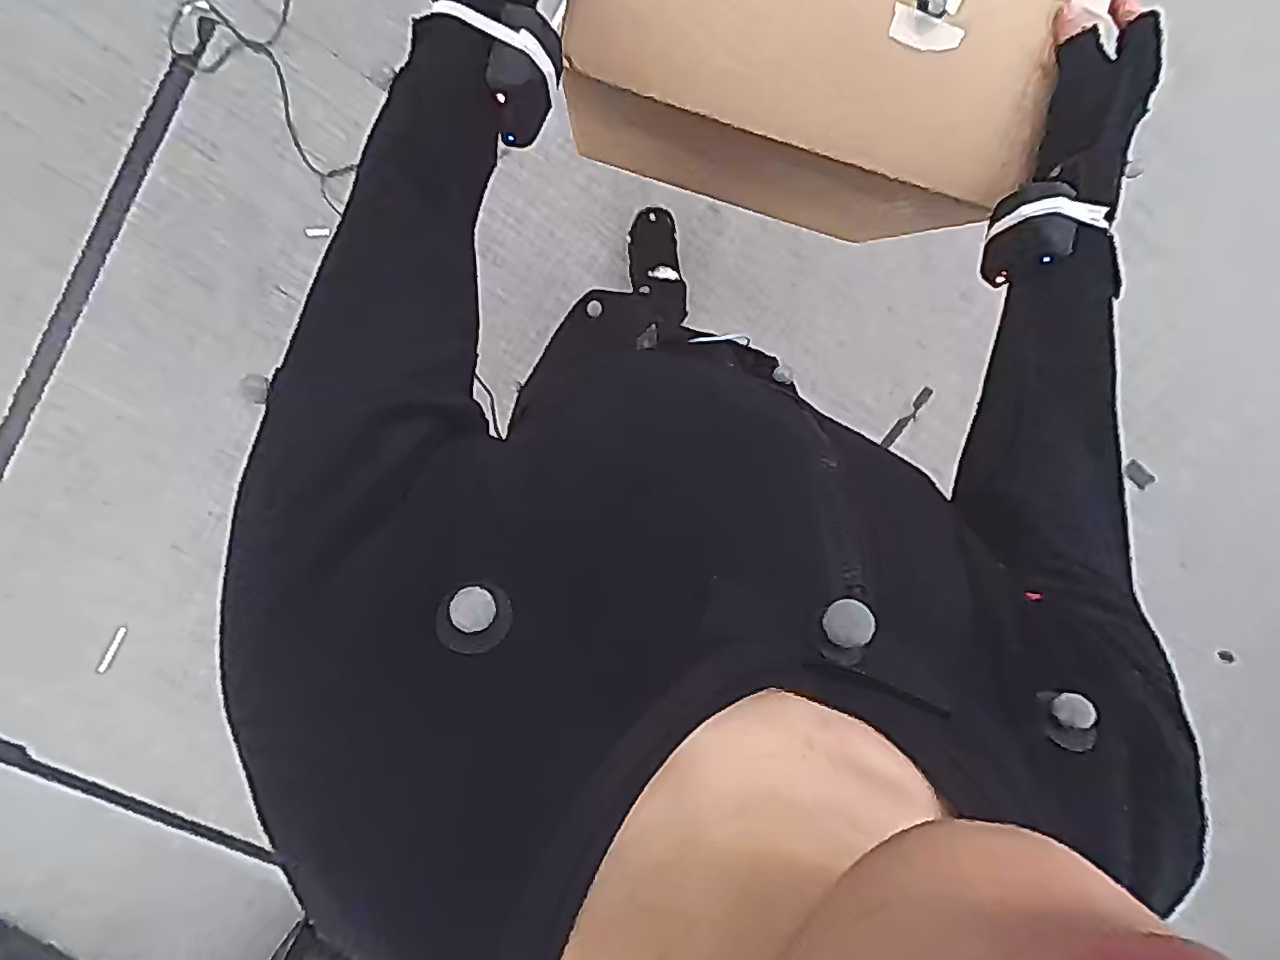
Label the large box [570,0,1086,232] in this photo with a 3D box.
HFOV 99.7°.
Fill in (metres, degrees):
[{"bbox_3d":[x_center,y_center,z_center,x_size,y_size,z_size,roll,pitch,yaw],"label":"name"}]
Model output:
[{"bbox_3d":[0.158,-0.478,0.552,0.408,0.320,0.320,13,110,-9],"label":"large box"}]
